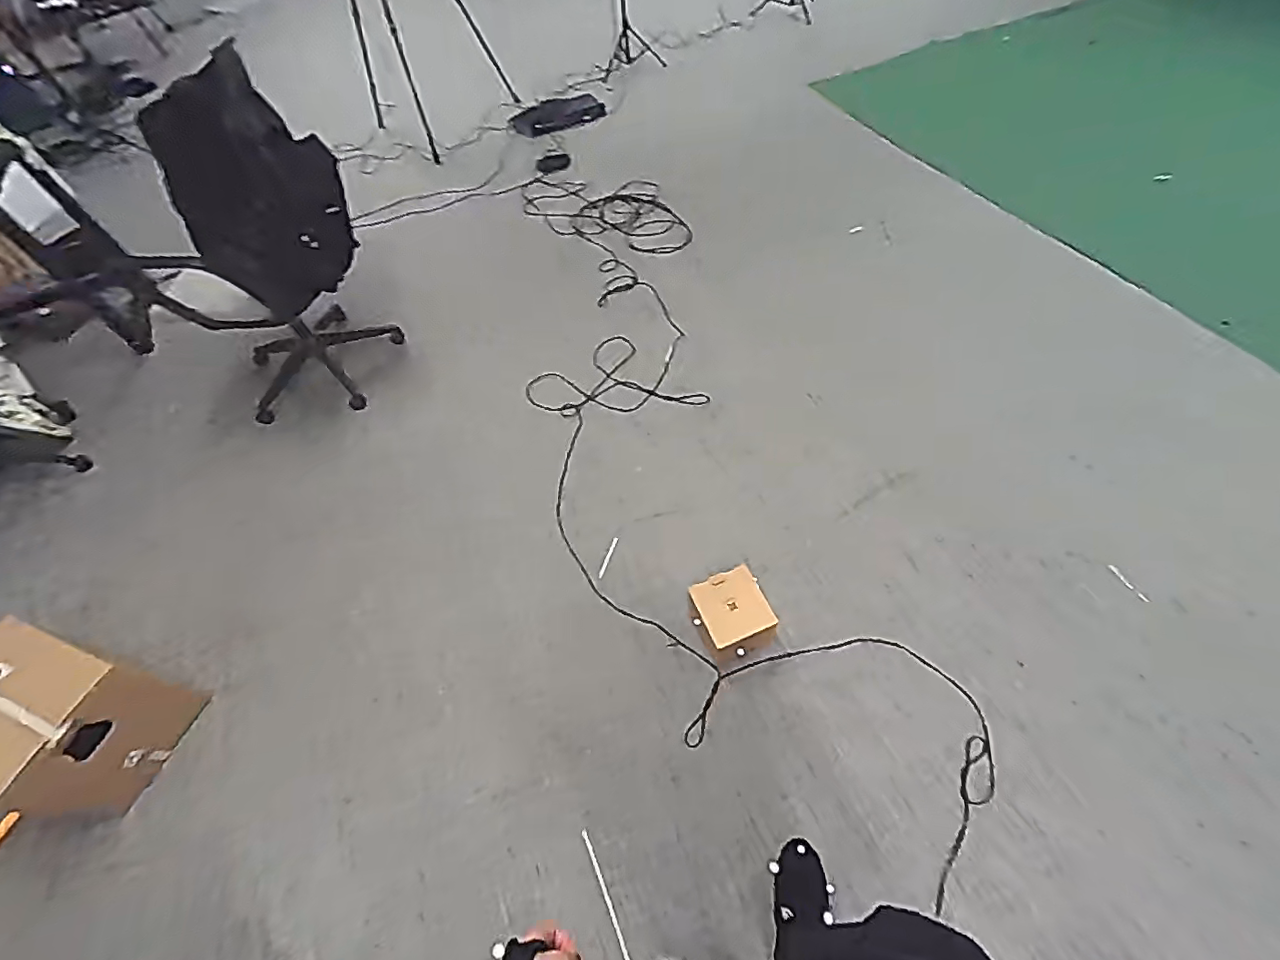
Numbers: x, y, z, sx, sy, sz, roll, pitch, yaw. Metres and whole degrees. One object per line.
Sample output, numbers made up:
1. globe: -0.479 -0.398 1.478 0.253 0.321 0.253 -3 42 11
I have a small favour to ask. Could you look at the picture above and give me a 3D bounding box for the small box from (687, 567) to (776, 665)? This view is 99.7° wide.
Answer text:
1. small box: 0.235 0.361 1.403 0.168 0.176 0.179 -21 55 -8
